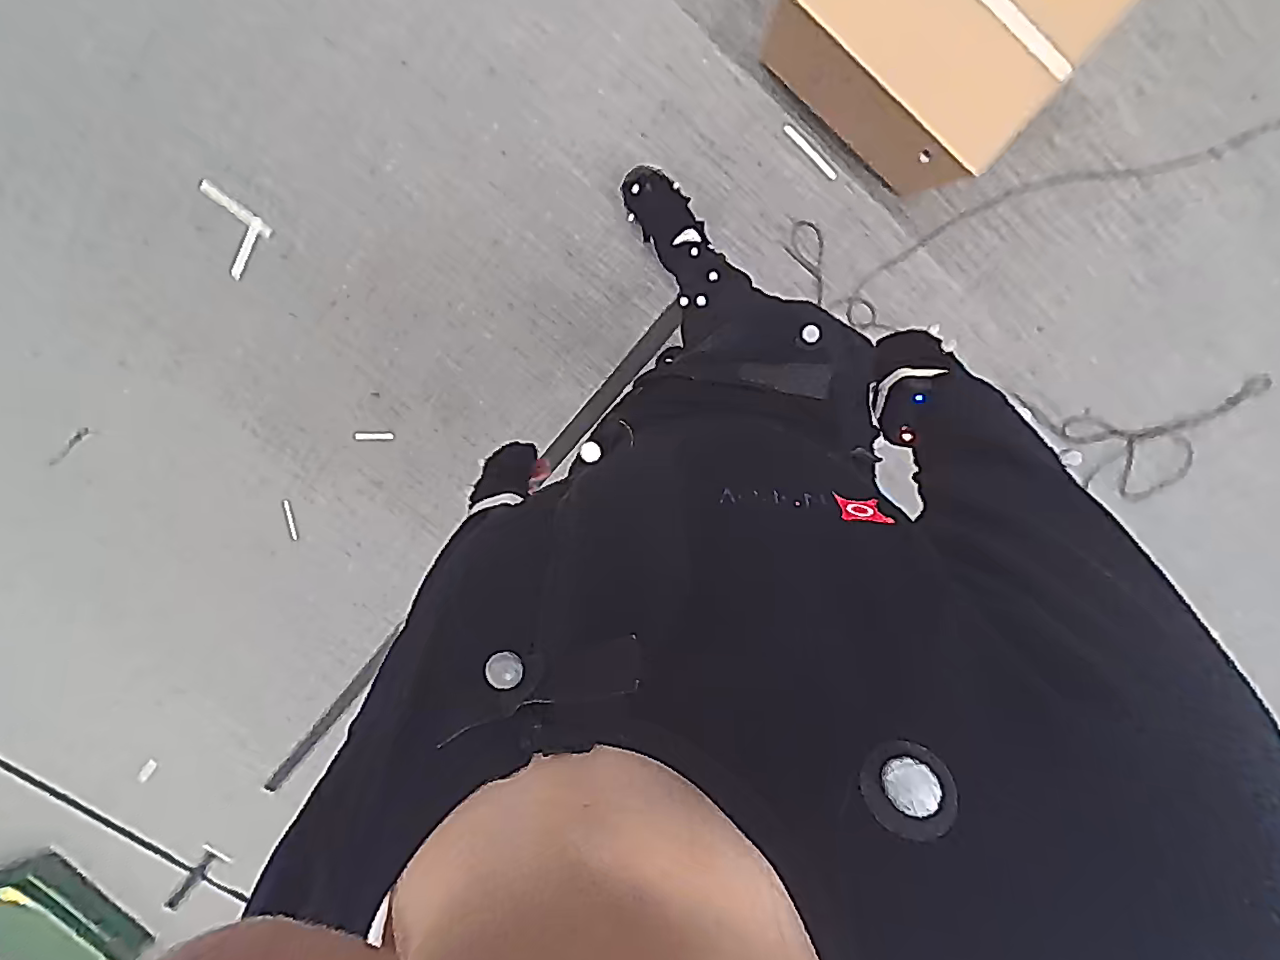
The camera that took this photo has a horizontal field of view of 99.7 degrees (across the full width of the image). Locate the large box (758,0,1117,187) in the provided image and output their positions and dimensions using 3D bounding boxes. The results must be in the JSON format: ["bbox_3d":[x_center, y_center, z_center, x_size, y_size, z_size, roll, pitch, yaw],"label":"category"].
[{"bbox_3d":[0.454,-0.756,0.883,0.408,0.320,0.320,37,110,-9],"label":"large box"}]
